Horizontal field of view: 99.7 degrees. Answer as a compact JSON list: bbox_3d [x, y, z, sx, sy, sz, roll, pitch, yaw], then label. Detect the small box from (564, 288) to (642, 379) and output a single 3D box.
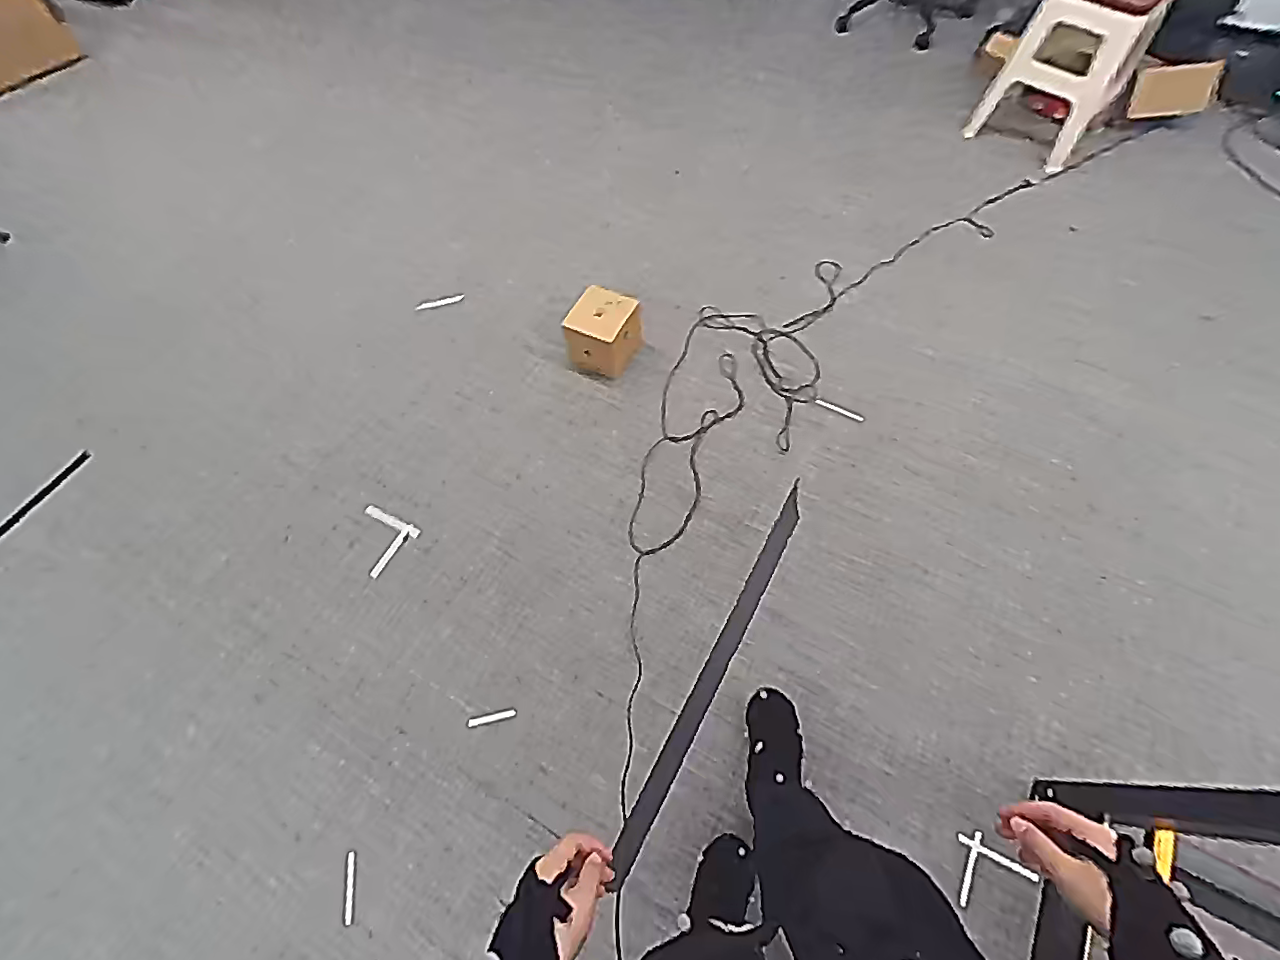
[{"bbox_3d":[-0.102,-0.432,1.617,0.168,0.176,0.179,24,66,14],"label":"small box"}]
